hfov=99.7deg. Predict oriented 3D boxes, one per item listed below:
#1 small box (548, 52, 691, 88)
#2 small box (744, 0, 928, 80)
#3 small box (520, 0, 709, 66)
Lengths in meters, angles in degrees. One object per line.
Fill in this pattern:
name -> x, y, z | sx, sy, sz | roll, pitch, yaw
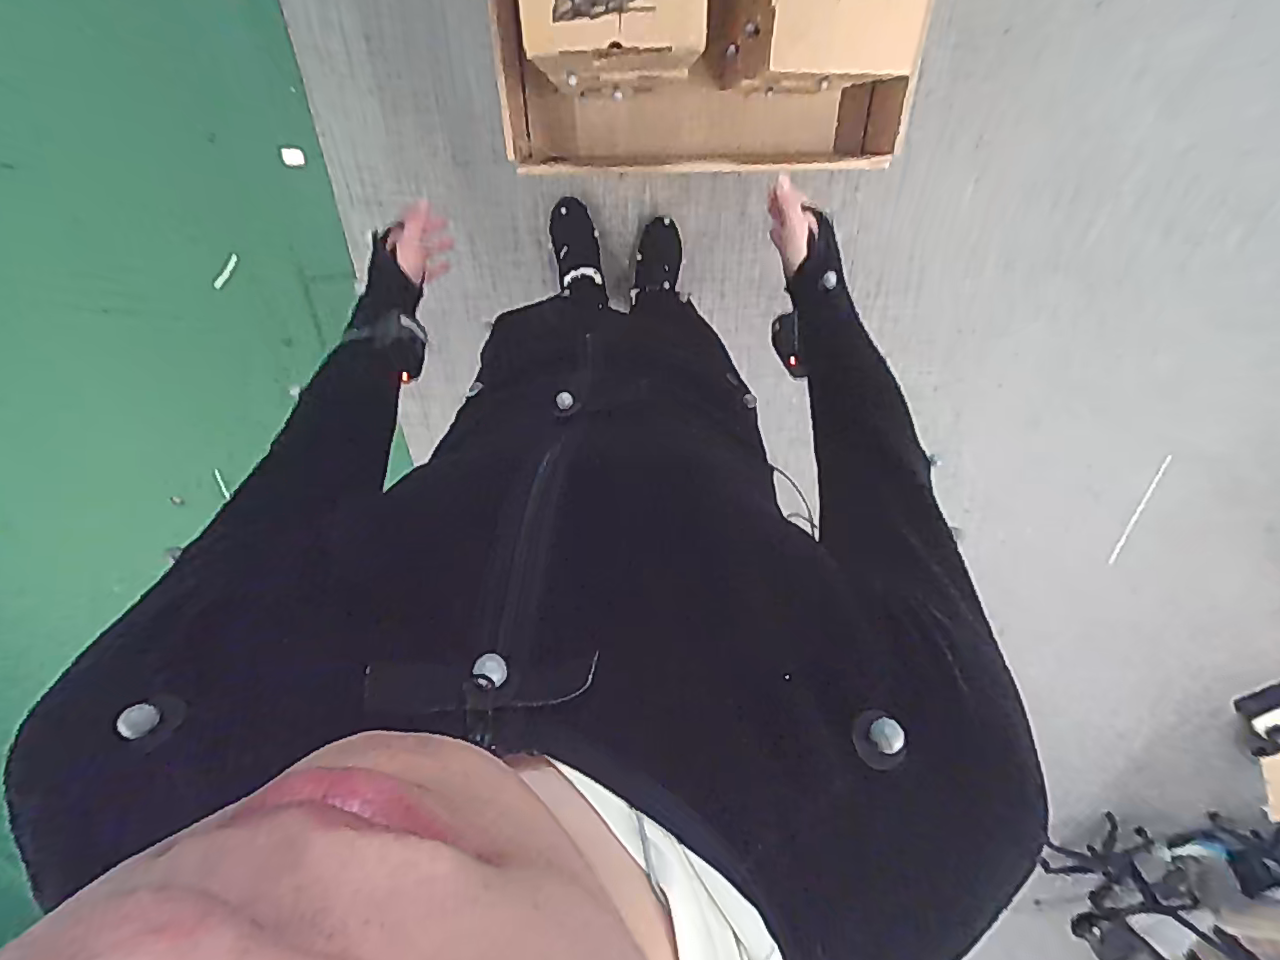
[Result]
small box -> -0.027, -0.583, 0.644 | 0.168, 0.176, 0.179 | -2, 123, -1
small box -> 0.232, -0.592, 0.653 | 0.179, 0.176, 0.168 | -1, 124, -3
small box -> -0.025, -0.500, 0.502 | 0.168, 0.176, 0.179 | -3, 122, -1
